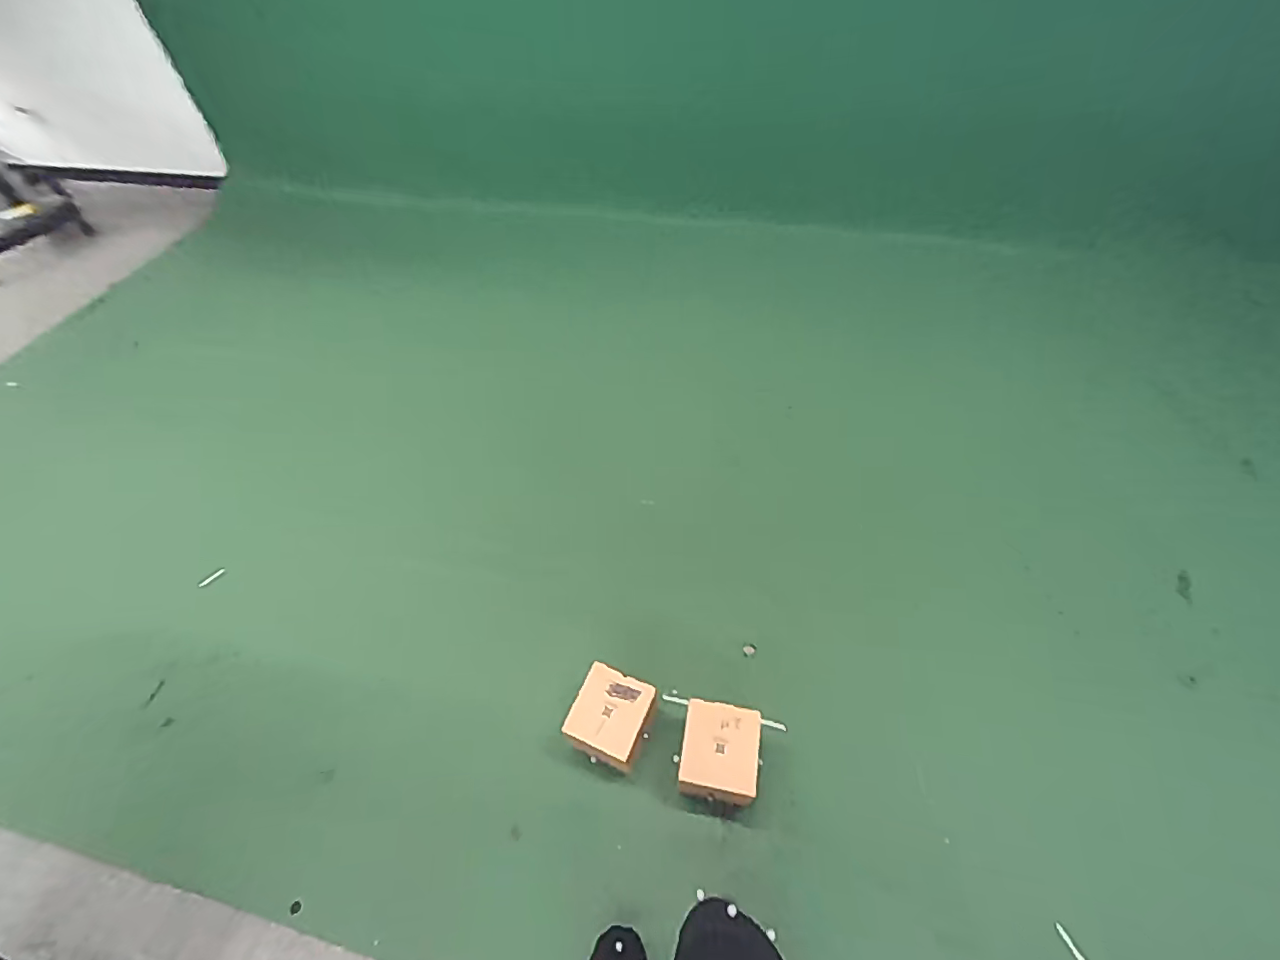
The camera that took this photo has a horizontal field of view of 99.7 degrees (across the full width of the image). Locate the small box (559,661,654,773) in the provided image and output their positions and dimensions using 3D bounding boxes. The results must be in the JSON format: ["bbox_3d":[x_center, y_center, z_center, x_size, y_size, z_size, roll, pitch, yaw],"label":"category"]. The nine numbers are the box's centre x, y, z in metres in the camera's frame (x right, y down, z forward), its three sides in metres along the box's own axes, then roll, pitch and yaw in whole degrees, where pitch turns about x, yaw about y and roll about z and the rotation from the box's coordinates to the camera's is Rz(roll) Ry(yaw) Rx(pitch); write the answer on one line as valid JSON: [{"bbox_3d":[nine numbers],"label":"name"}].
[{"bbox_3d":[-0.074,0.573,1.301,0.168,0.176,0.179,19,56,17],"label":"small box"}]

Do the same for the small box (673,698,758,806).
[{"bbox_3d":[0.172,0.630,1.245,0.168,0.176,0.179,9,53,8],"label":"small box"}]
